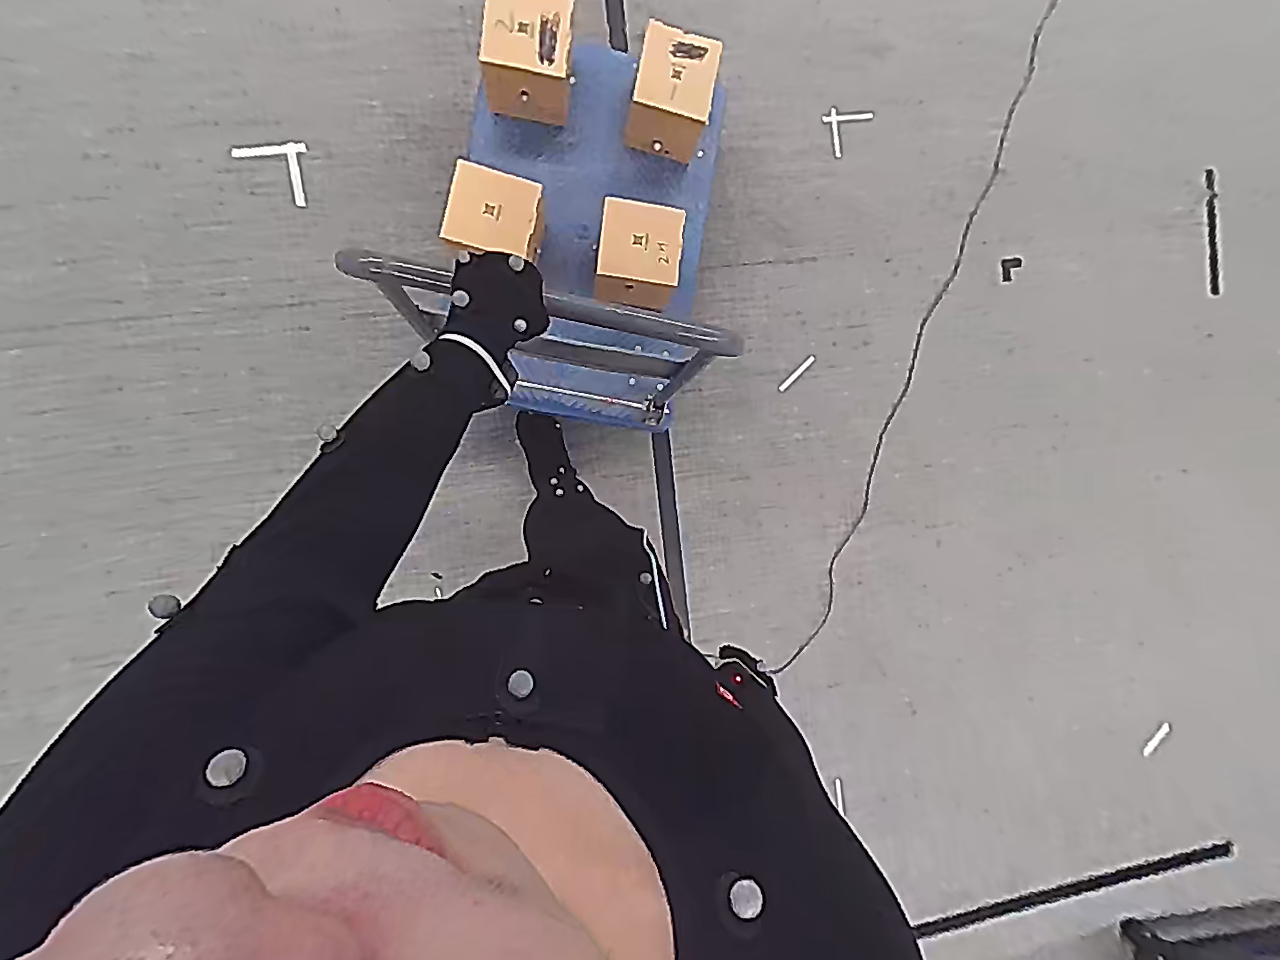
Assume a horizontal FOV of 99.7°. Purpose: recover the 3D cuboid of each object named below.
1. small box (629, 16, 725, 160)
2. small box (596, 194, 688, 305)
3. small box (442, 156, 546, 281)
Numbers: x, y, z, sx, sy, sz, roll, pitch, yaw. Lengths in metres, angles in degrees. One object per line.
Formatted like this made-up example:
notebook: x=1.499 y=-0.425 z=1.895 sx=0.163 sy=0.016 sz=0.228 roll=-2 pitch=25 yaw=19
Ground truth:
small box: x=0.075 y=-0.868 z=1.214 sx=0.168 sy=0.176 sz=0.179 roll=12 pitch=91 yaw=-8
small box: x=-0.004 y=-0.507 z=1.213 sx=0.179 sy=0.176 sz=0.168 roll=7 pitch=91 yaw=-7
small box: x=-0.307 y=-0.554 z=1.173 sx=0.179 sy=0.176 sz=0.168 roll=13 pitch=89 yaw=-9
